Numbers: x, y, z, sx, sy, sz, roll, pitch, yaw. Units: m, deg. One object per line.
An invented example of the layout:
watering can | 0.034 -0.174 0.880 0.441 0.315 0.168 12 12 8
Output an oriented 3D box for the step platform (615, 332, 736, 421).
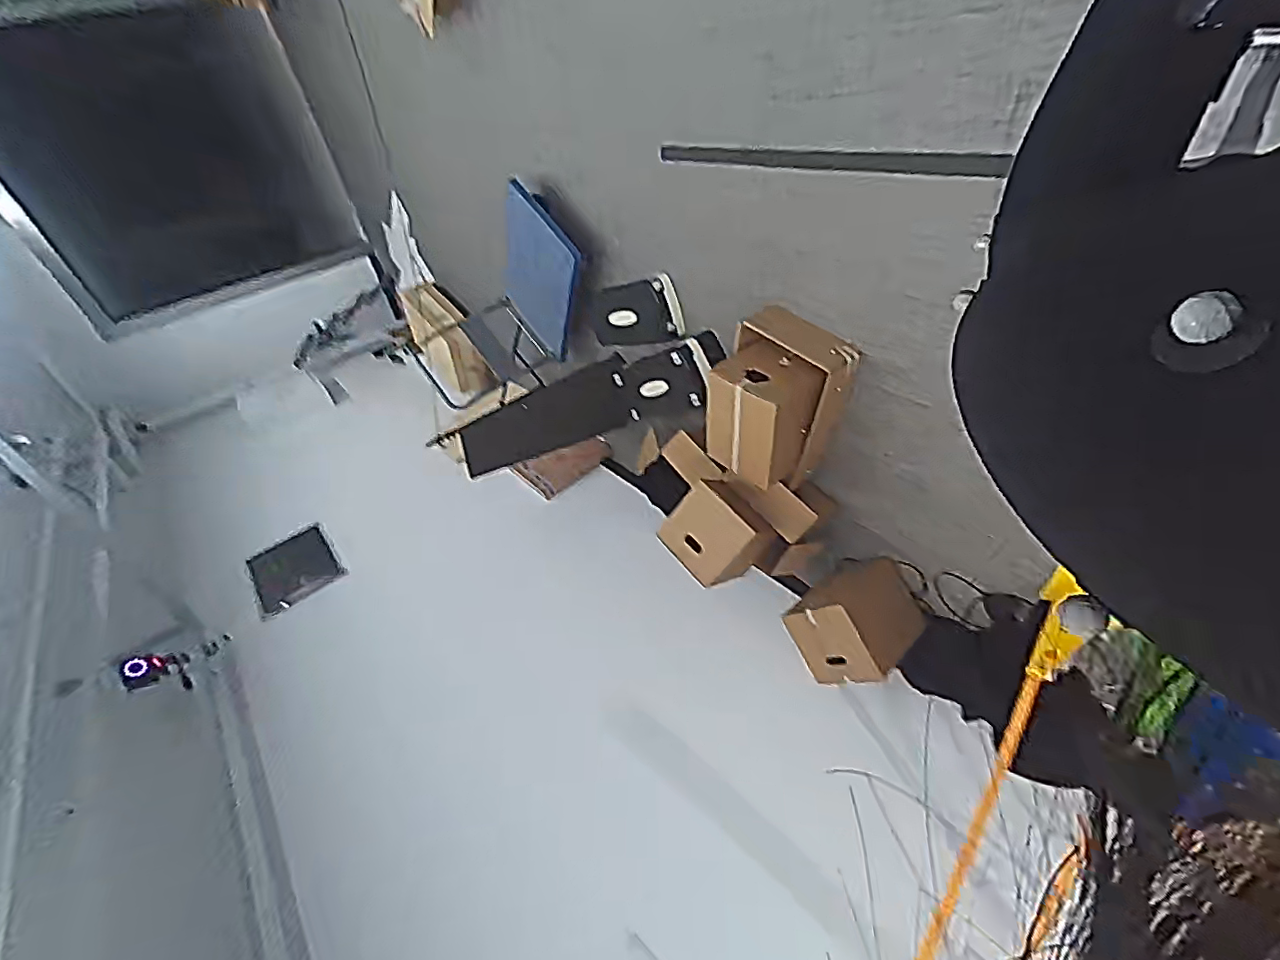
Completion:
step platform | 0.139 -0.470 2.582 0.684 0.204 0.286 -2 118 60
